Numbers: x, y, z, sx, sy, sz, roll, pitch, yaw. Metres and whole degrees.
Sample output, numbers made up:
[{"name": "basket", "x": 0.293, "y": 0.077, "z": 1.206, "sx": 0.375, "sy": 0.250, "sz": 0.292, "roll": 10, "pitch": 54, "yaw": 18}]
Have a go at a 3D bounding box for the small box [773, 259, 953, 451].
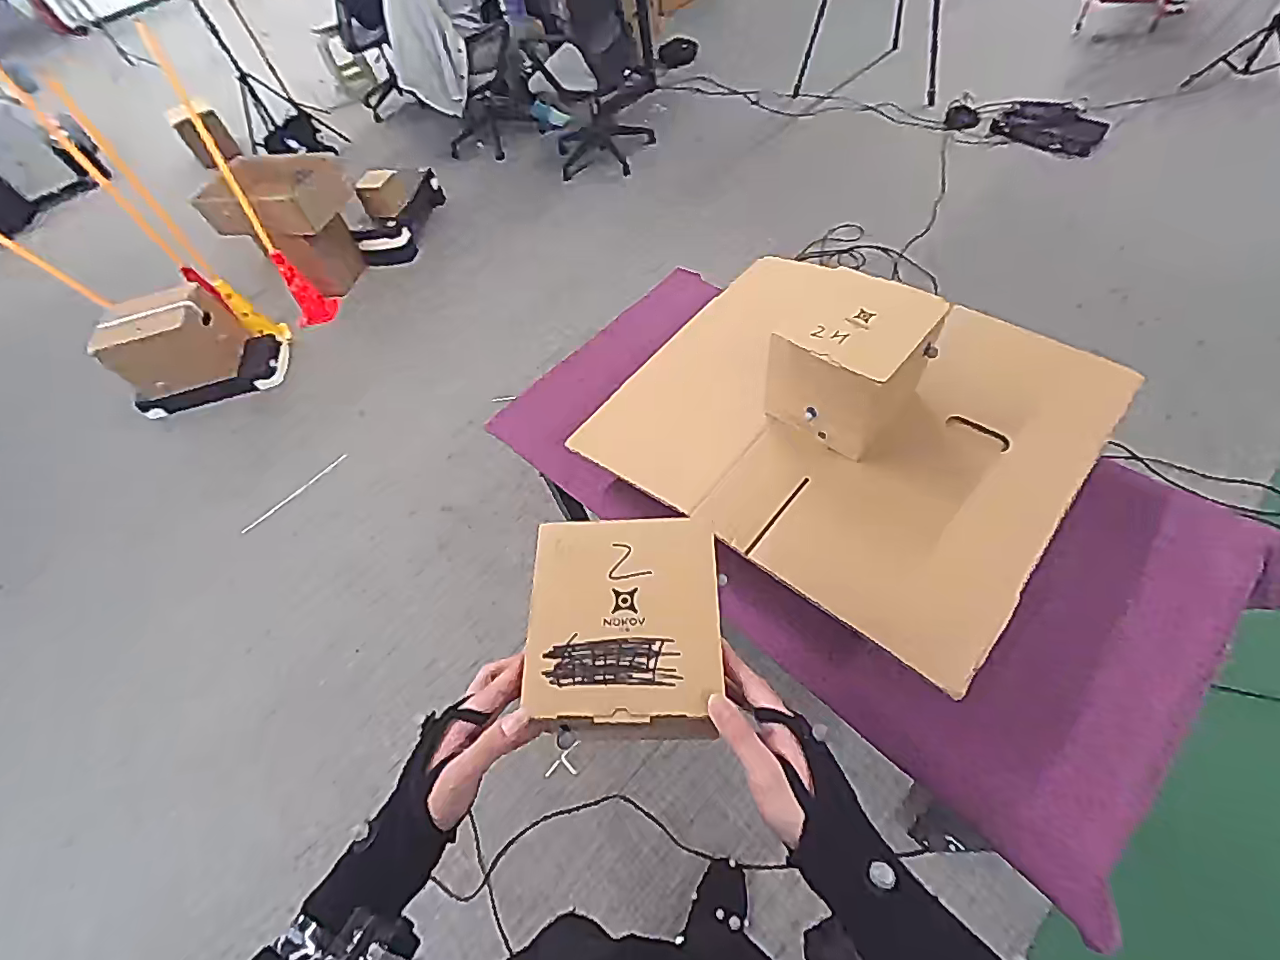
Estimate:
[{"name": "small box", "x": 0.307, "y": -0.178, "z": 0.784, "sx": 0.168, "sy": 0.176, "sz": 0.179, "roll": 36, "pitch": 70, "yaw": 27}]
